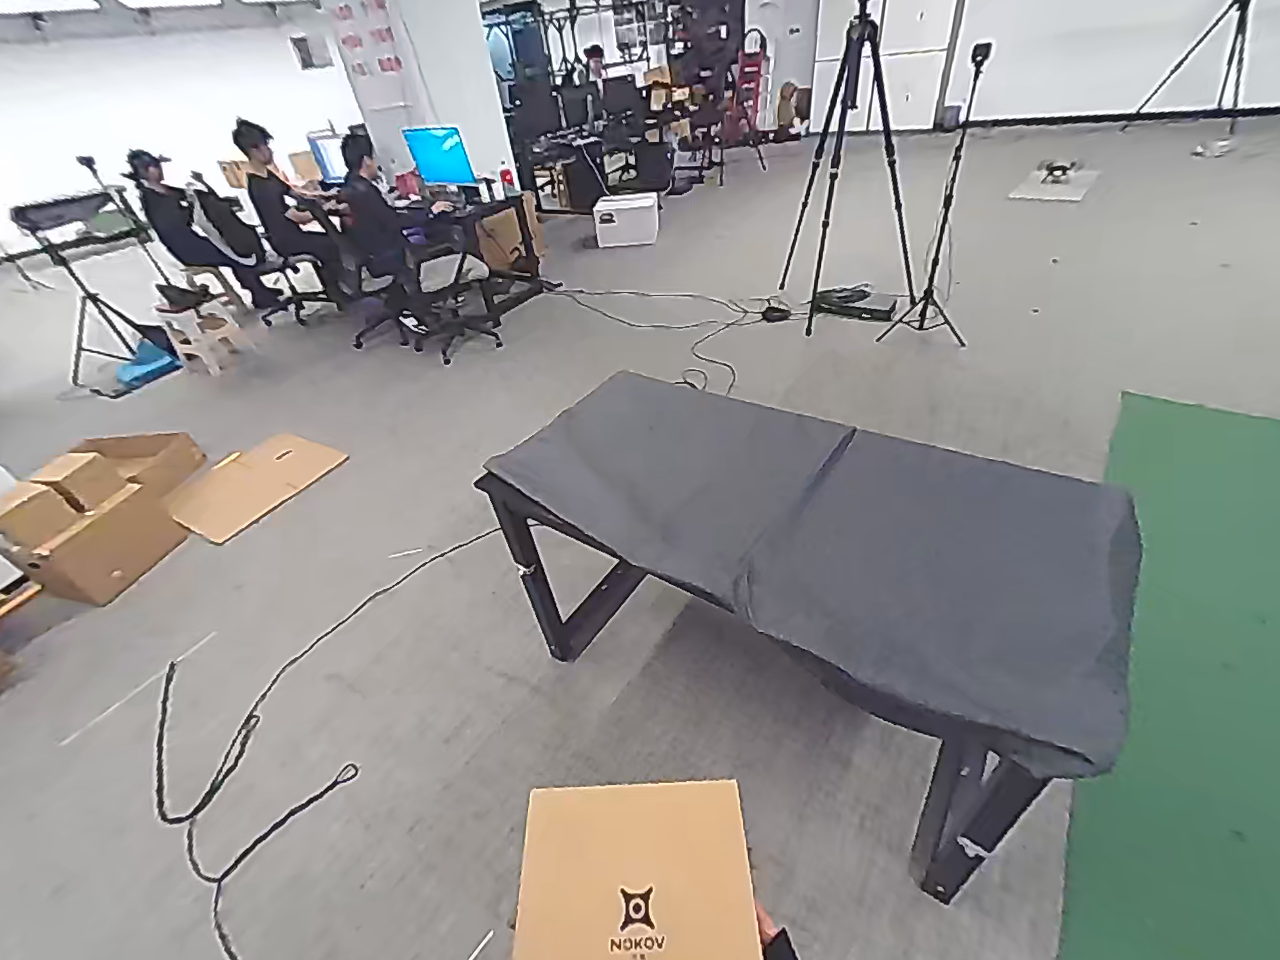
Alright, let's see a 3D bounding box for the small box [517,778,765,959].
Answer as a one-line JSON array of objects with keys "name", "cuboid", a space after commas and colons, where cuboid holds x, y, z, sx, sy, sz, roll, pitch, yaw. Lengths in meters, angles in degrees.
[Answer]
[{"name": "small box", "cuboid": [0.002, 0.356, 0.423, 0.168, 0.176, 0.179, -2, 44, 1]}]
